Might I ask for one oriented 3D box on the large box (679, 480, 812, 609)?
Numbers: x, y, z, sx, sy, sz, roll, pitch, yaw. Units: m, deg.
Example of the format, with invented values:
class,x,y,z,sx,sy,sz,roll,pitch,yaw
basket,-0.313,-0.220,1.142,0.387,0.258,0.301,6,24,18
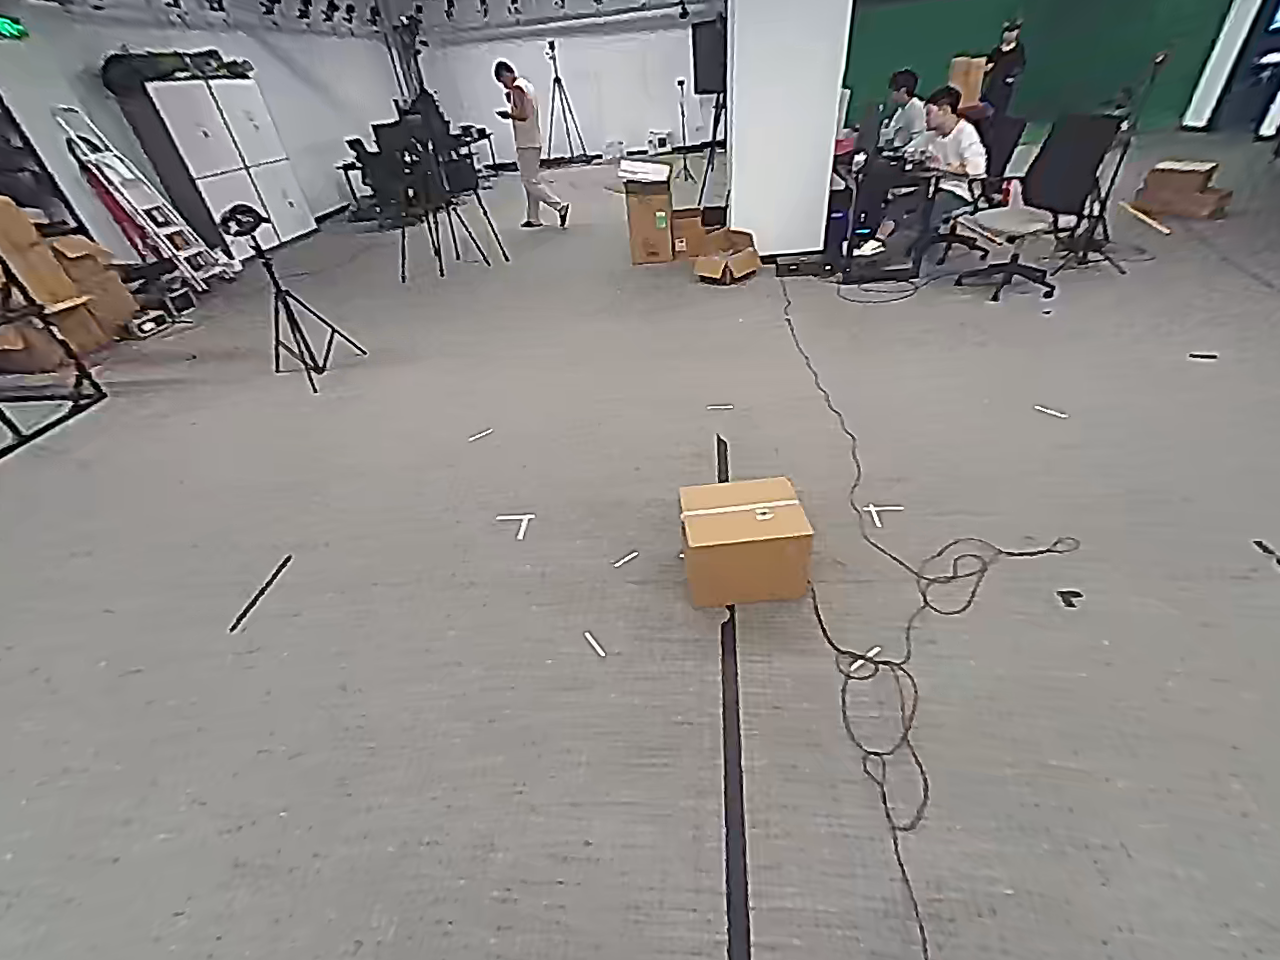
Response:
class,x,y,z,sx,sy,sz,roll,pitch,yaw
large box,0.360,0.230,1.938,0.408,0.320,0.320,-6,36,1
